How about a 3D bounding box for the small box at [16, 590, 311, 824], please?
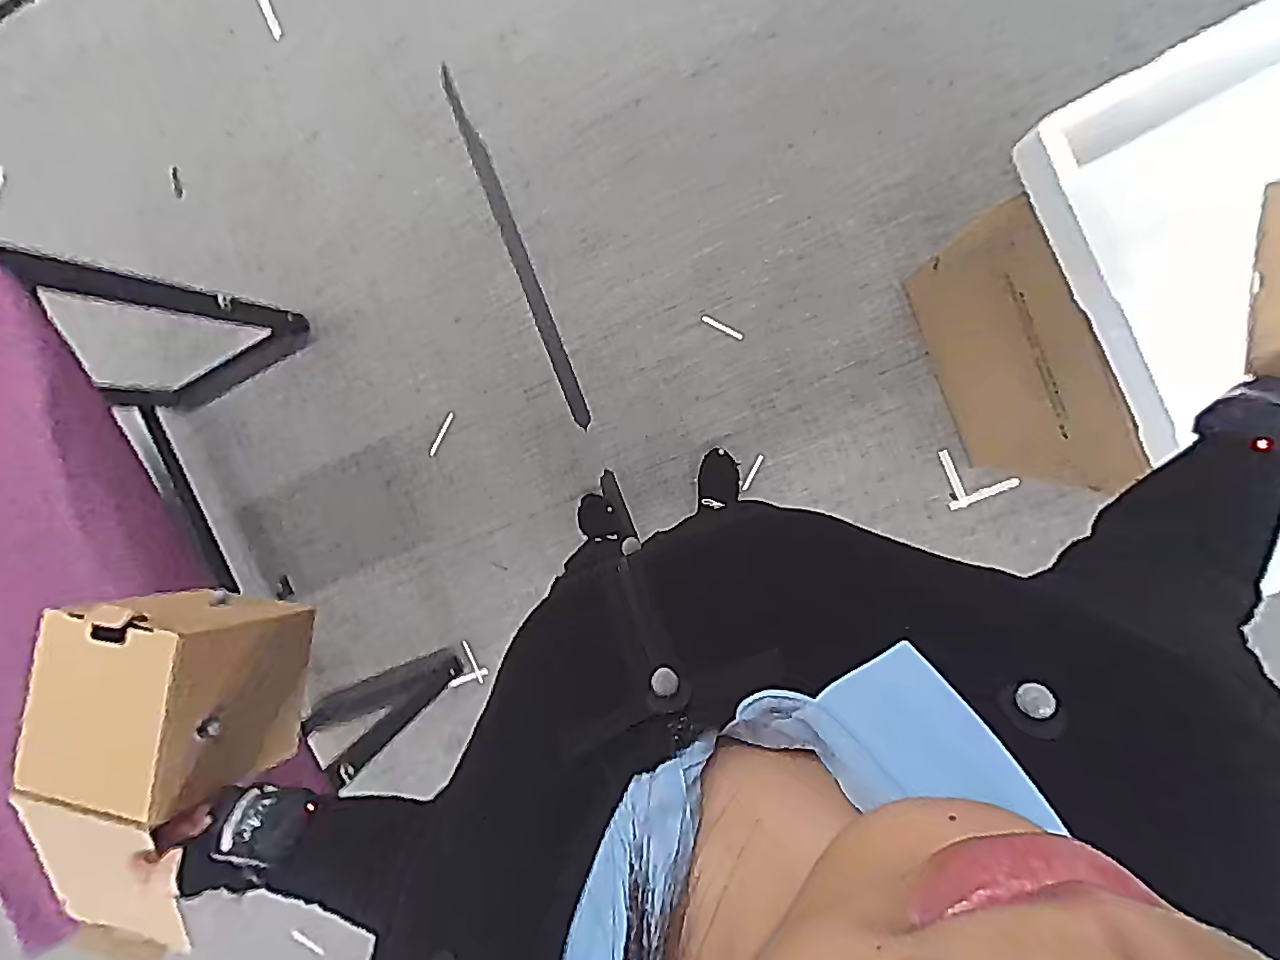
[{"bbox_3d":[-0.494,0.225,0.586,0.168,0.176,0.179,5,86,11],"label":"small box"}]
